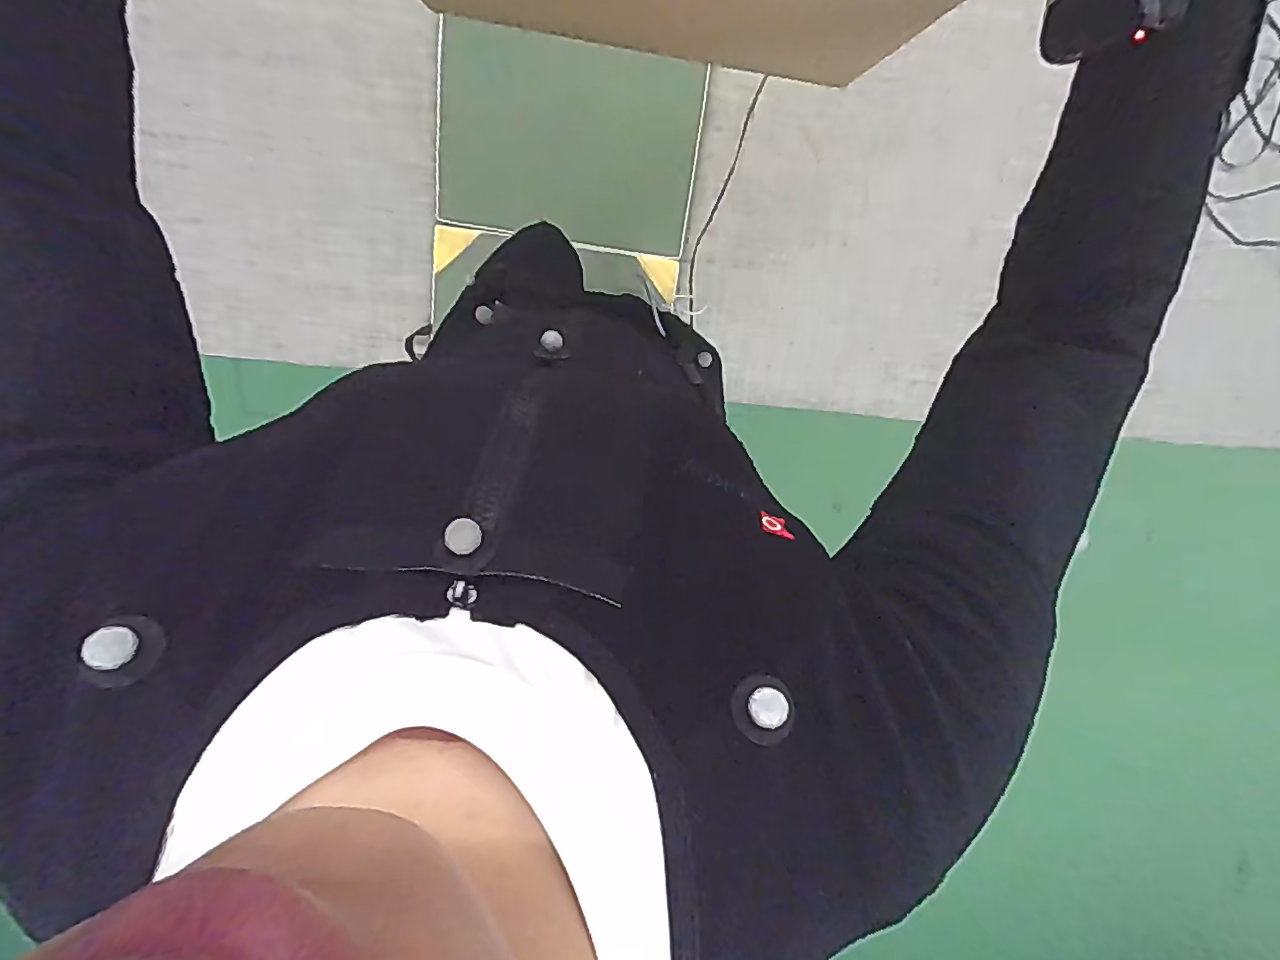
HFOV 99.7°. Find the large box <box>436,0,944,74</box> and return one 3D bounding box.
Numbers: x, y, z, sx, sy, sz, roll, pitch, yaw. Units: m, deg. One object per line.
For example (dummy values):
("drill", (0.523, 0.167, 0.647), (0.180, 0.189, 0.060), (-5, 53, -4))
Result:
("large box", (0.028, -0.489, 0.317), (0.408, 0.320, 0.320), (8, 116, -3))
